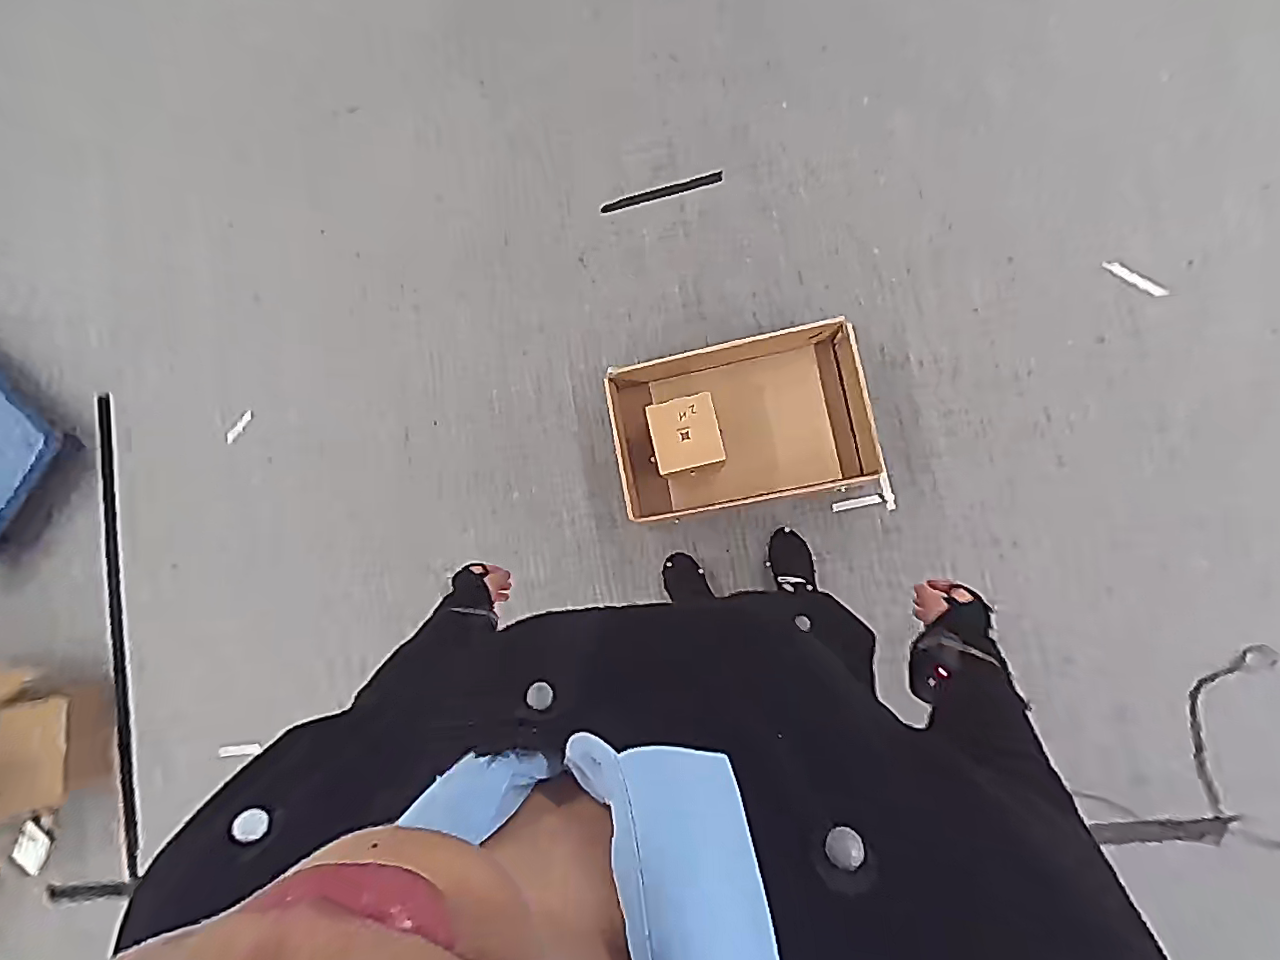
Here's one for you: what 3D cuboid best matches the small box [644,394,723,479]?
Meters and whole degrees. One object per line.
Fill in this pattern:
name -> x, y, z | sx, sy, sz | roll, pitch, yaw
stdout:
small box -> 0.118, -0.103, 1.386 | 0.168, 0.176, 0.179 | -13, 84, 7
